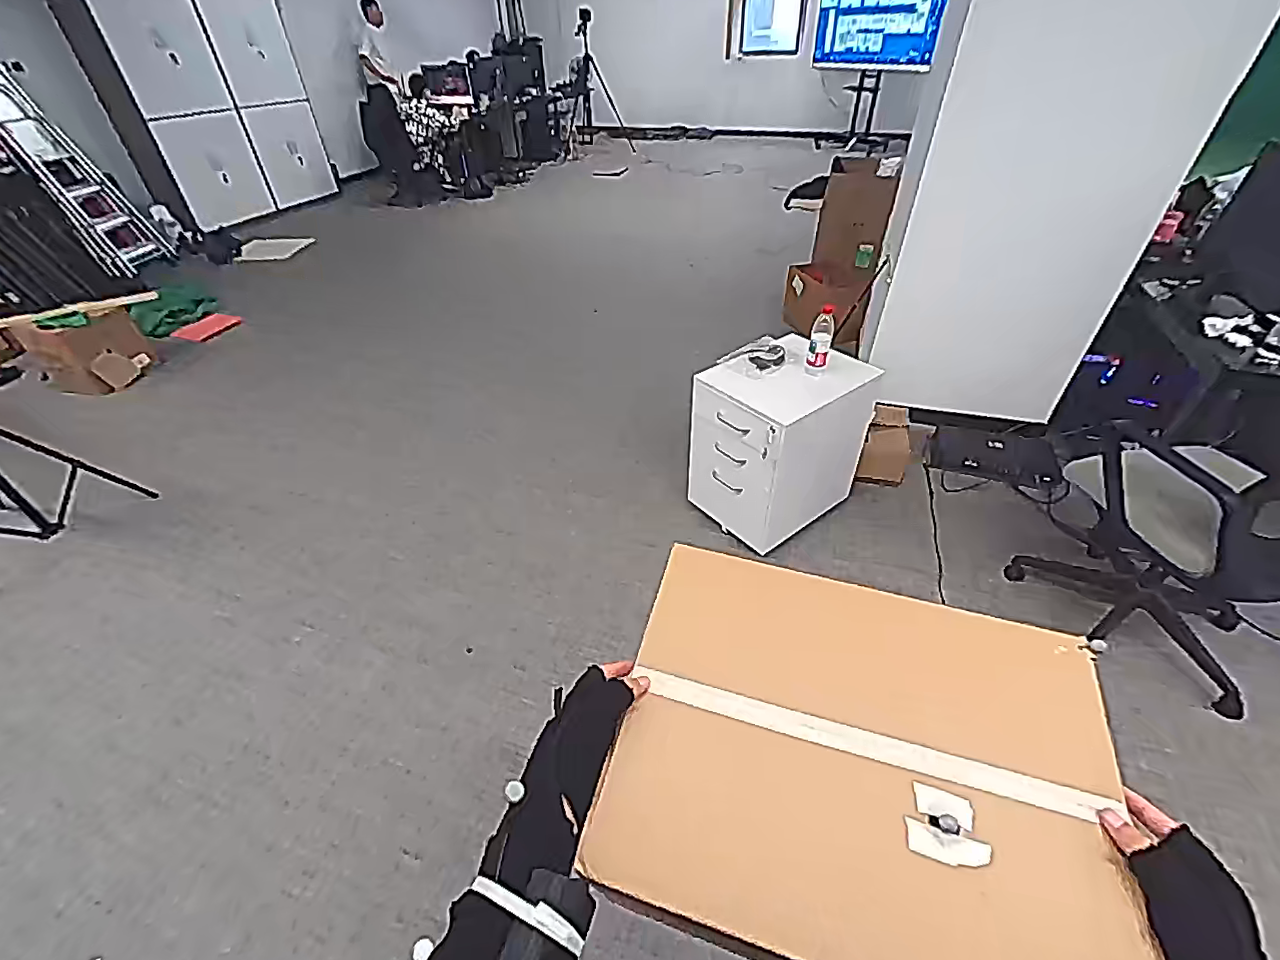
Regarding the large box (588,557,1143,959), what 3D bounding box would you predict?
[{"bbox_3d":[0.190,0.331,0.587,0.408,0.320,0.320,12,51,12],"label":"large box"}]
